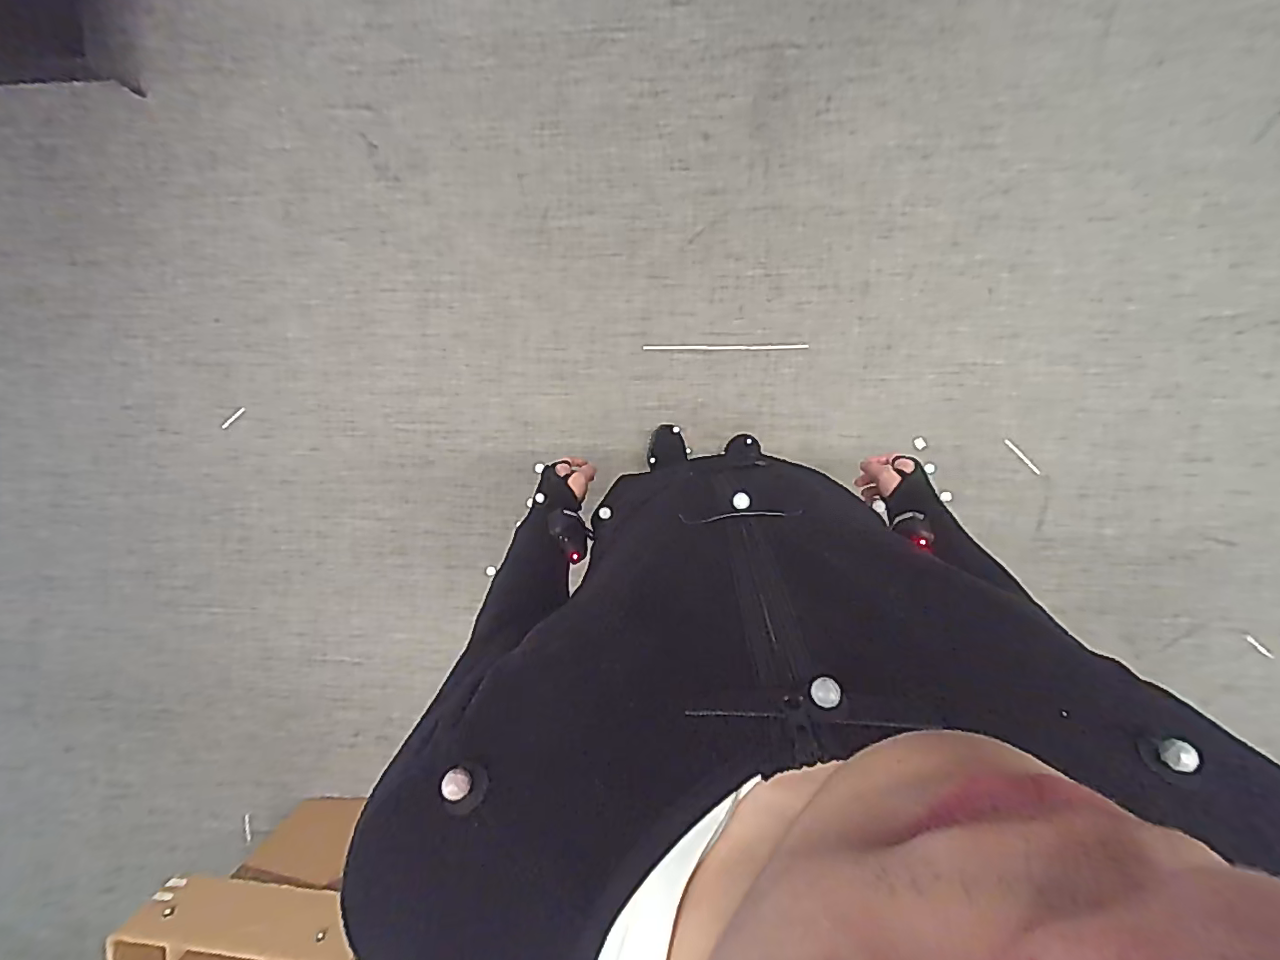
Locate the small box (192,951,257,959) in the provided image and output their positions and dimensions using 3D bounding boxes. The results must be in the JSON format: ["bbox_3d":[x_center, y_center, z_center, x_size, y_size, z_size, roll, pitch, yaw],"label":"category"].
[{"bbox_3d":[-1.088,1.322,1.339,0.179,0.176,0.168,3,96,2],"label":"small box"}]
